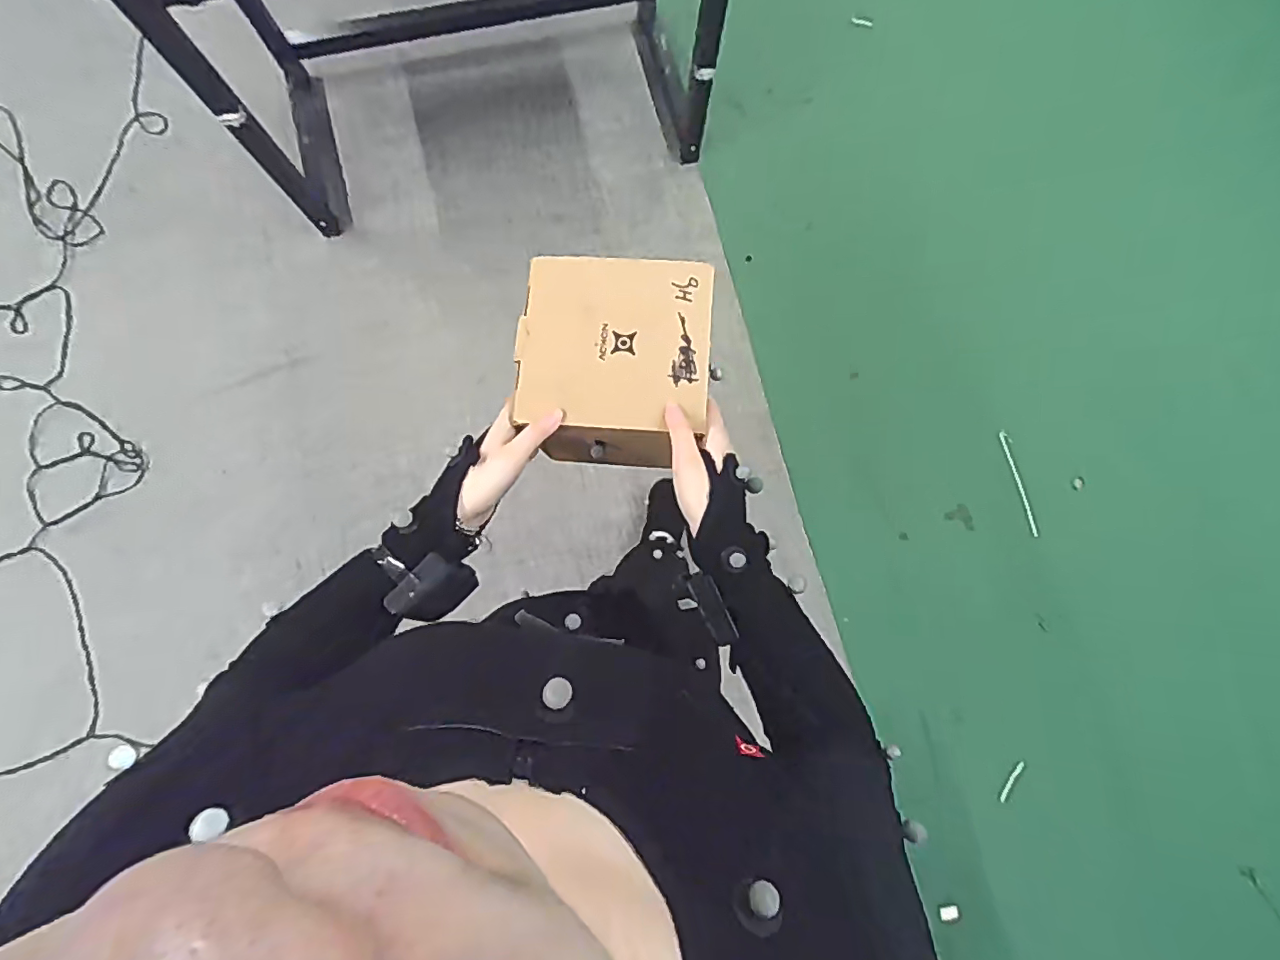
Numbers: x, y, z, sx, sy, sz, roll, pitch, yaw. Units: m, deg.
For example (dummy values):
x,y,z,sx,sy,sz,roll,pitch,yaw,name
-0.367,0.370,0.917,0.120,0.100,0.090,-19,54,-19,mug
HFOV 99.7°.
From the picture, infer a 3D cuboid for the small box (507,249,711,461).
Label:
x,y,z,sx,sy,sz,roll,pitch,yaw,name
-0.021,-0.119,0.570,0.179,0.176,0.168,4,80,4,small box
